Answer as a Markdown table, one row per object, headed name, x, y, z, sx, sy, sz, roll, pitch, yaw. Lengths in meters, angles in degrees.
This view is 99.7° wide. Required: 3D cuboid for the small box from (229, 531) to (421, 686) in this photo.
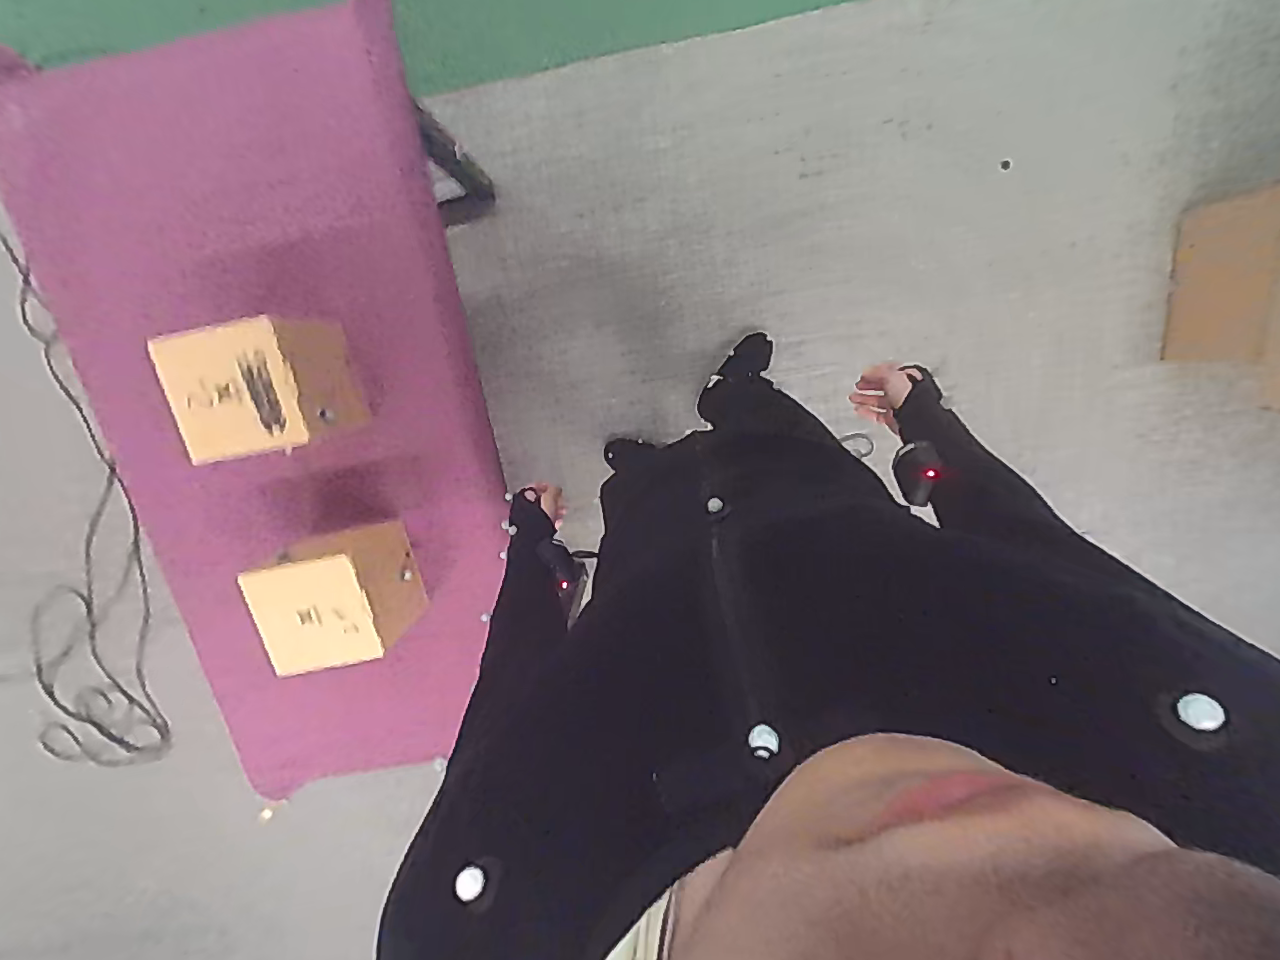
| name | x | y | z | sx | sy | sz | roll | pitch | yaw |
| --- | --- | --- | --- | --- | --- | --- | --- | --- | --- |
| small box | -0.478 | 0.193 | 0.849 | 0.179 | 0.176 | 0.168 | -12 | 102 | 4 |
